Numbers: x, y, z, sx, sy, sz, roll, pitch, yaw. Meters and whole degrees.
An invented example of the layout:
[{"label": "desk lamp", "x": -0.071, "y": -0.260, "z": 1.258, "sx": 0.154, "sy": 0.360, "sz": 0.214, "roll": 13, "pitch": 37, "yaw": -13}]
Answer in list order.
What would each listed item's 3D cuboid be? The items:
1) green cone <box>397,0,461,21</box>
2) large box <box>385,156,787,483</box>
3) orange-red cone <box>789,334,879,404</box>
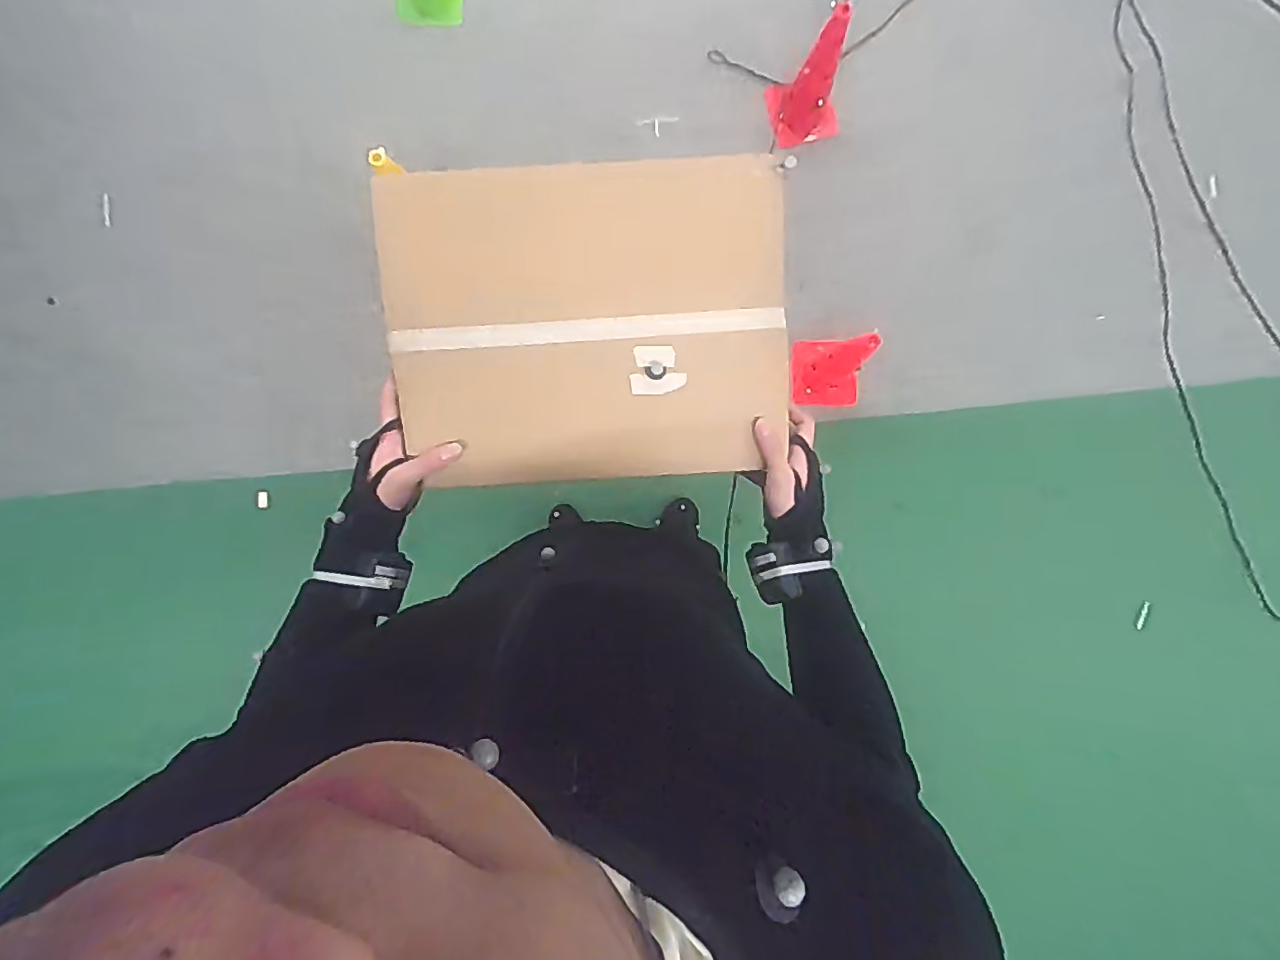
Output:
[{"label": "green cone", "x": -0.663, "y": -1.546, "z": 1.526, "sx": 0.200, "sy": 0.368, "sz": 0.202, "roll": 1, "pitch": 90, "yaw": 0}, {"label": "large box", "x": -0.053, "y": -0.184, "z": 0.709, "sx": 0.408, "sy": 0.320, "sz": 0.320, "roll": -3, "pitch": 100, "yaw": -2}, {"label": "orange-red cone", "x": 0.563, "y": -0.336, "z": 1.488, "sx": 0.199, "sy": 0.360, "sz": 0.198, "roll": 2, "pitch": 89, "yaw": -1}]
